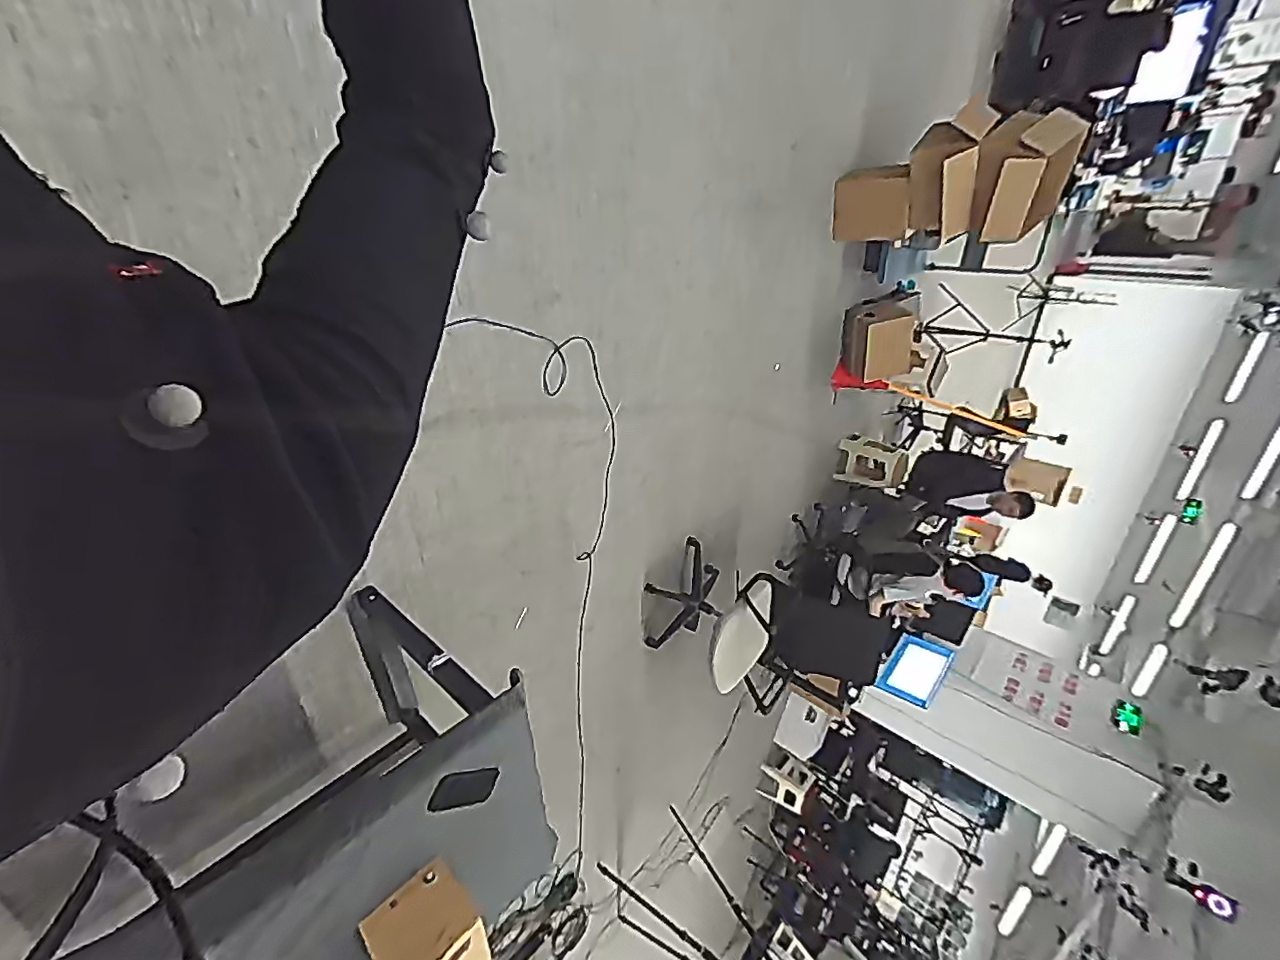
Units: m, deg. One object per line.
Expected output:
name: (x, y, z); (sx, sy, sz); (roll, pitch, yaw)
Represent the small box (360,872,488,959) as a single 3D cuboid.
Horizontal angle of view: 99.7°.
small box: (-0.416, 0.916, 1.049); (0.168, 0.176, 0.179); (-26, 127, -42)
